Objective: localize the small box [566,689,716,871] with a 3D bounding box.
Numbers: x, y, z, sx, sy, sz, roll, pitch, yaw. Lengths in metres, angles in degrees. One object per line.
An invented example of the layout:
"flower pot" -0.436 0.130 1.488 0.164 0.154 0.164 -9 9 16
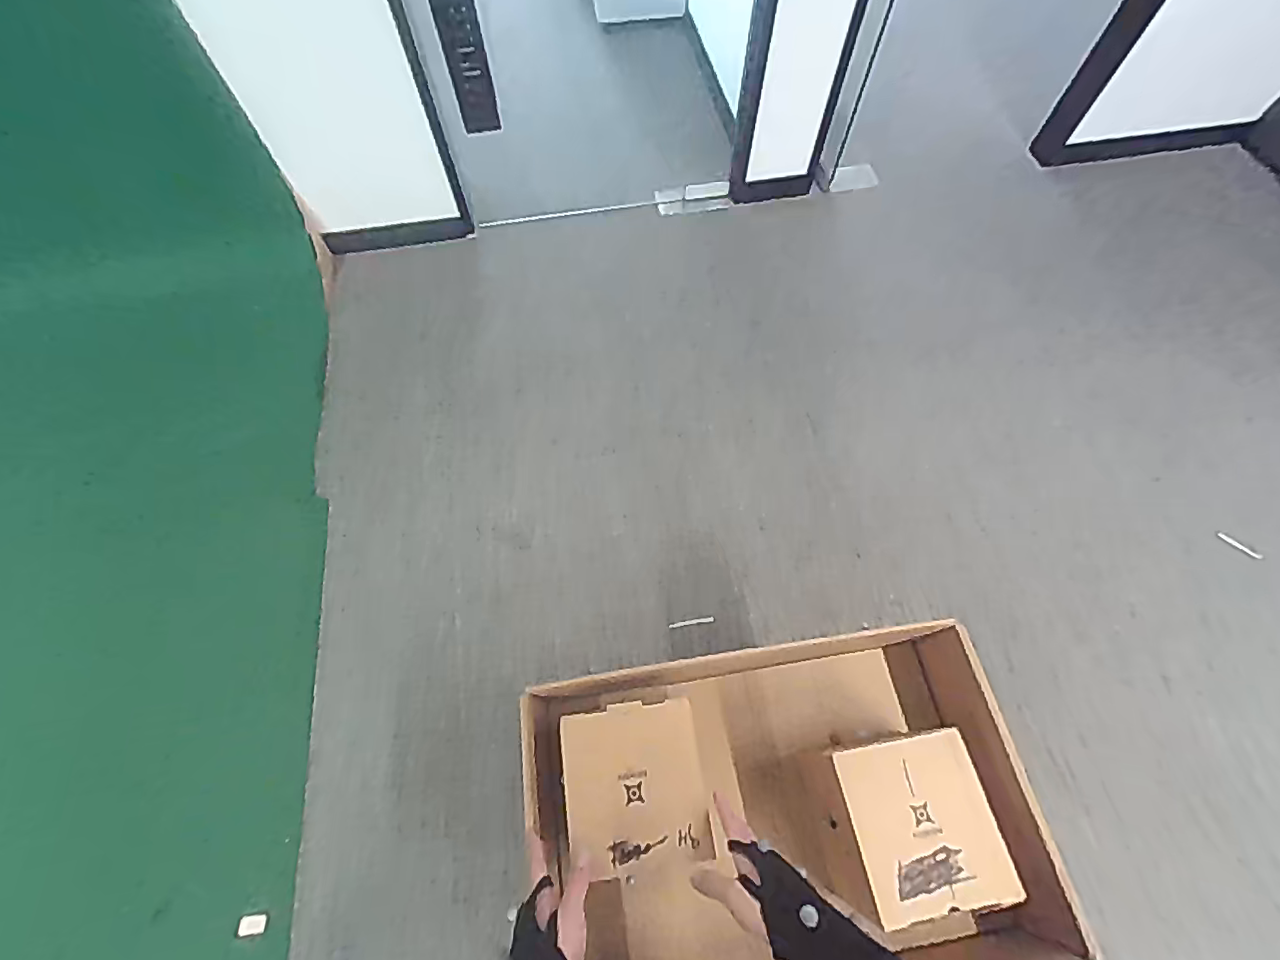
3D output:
"small box" -0.005 0.386 0.713 0.168 0.176 0.179 -7 64 -3
